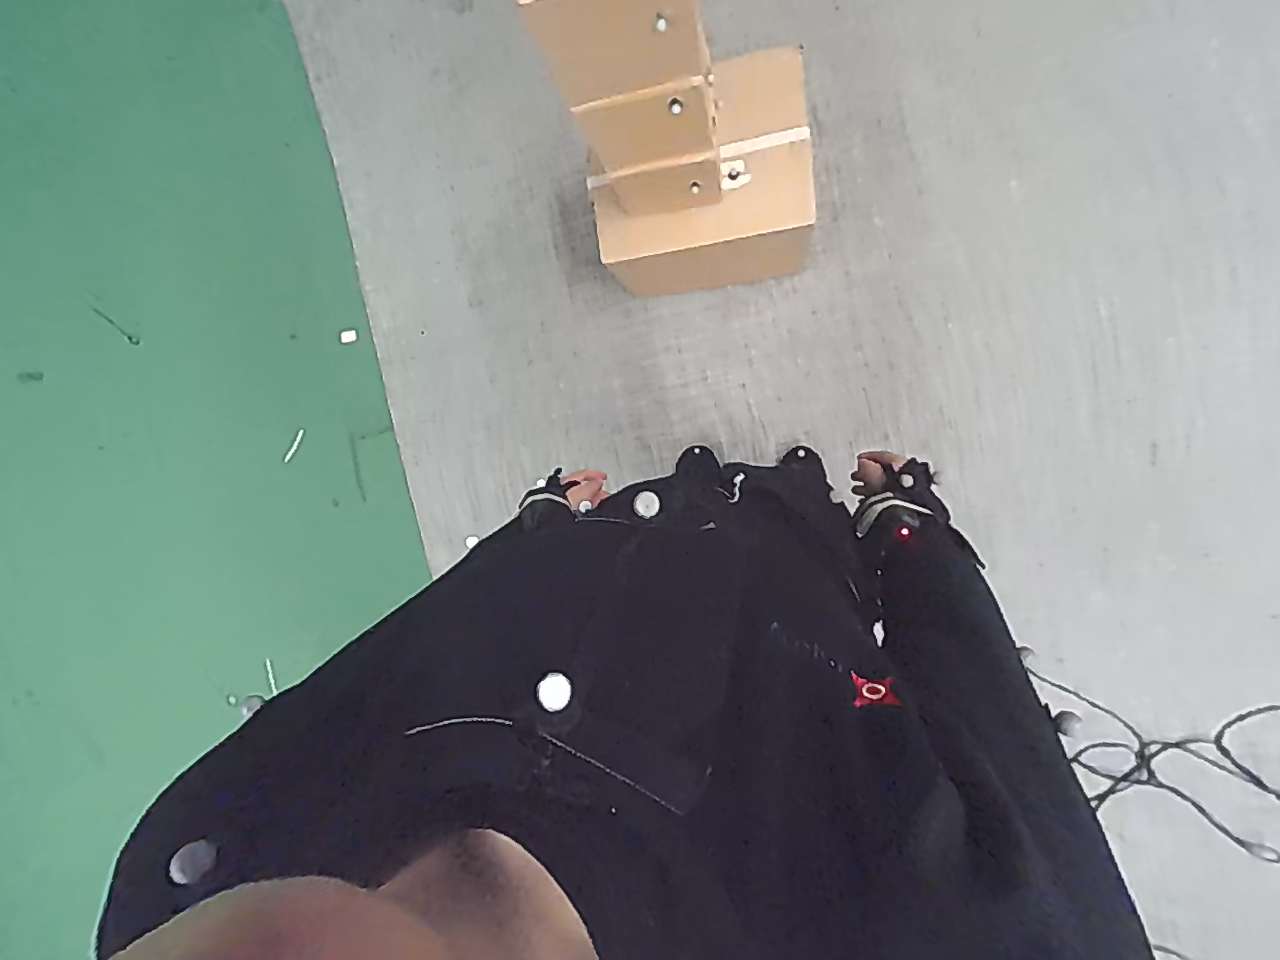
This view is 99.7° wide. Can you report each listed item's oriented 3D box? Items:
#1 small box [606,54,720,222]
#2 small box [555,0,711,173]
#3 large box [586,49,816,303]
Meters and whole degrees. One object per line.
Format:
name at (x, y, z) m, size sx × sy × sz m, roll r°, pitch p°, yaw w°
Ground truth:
small box at (0.041, -0.562, 0.914) m, size 0.179 × 0.176 × 0.168 m, roll -5°, pitch 93°, yaw 13°
small box at (-0.001, -0.562, 0.756) m, size 0.179 × 0.176 × 0.168 m, roll -6°, pitch 93°, yaw 12°
large box at (0.130, -0.595, 1.141) m, size 0.408 × 0.320 × 0.320 m, roll -7°, pitch 95°, yaw 11°
